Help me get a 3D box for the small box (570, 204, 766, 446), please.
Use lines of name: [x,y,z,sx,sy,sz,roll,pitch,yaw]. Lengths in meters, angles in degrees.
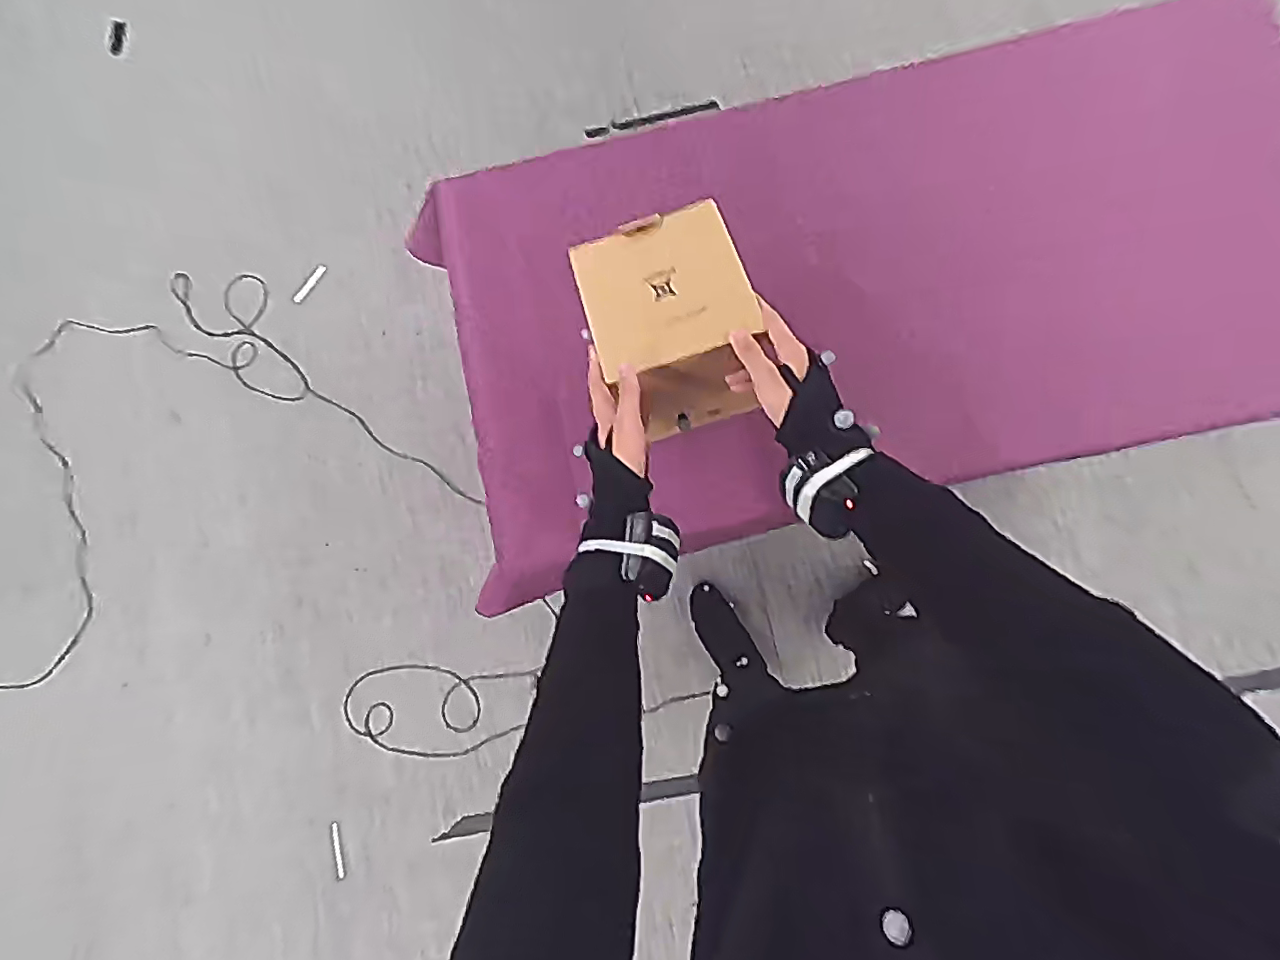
small box: [0.034,-0.164,0.615,0.168,0.176,0.179,-17,69,5]
